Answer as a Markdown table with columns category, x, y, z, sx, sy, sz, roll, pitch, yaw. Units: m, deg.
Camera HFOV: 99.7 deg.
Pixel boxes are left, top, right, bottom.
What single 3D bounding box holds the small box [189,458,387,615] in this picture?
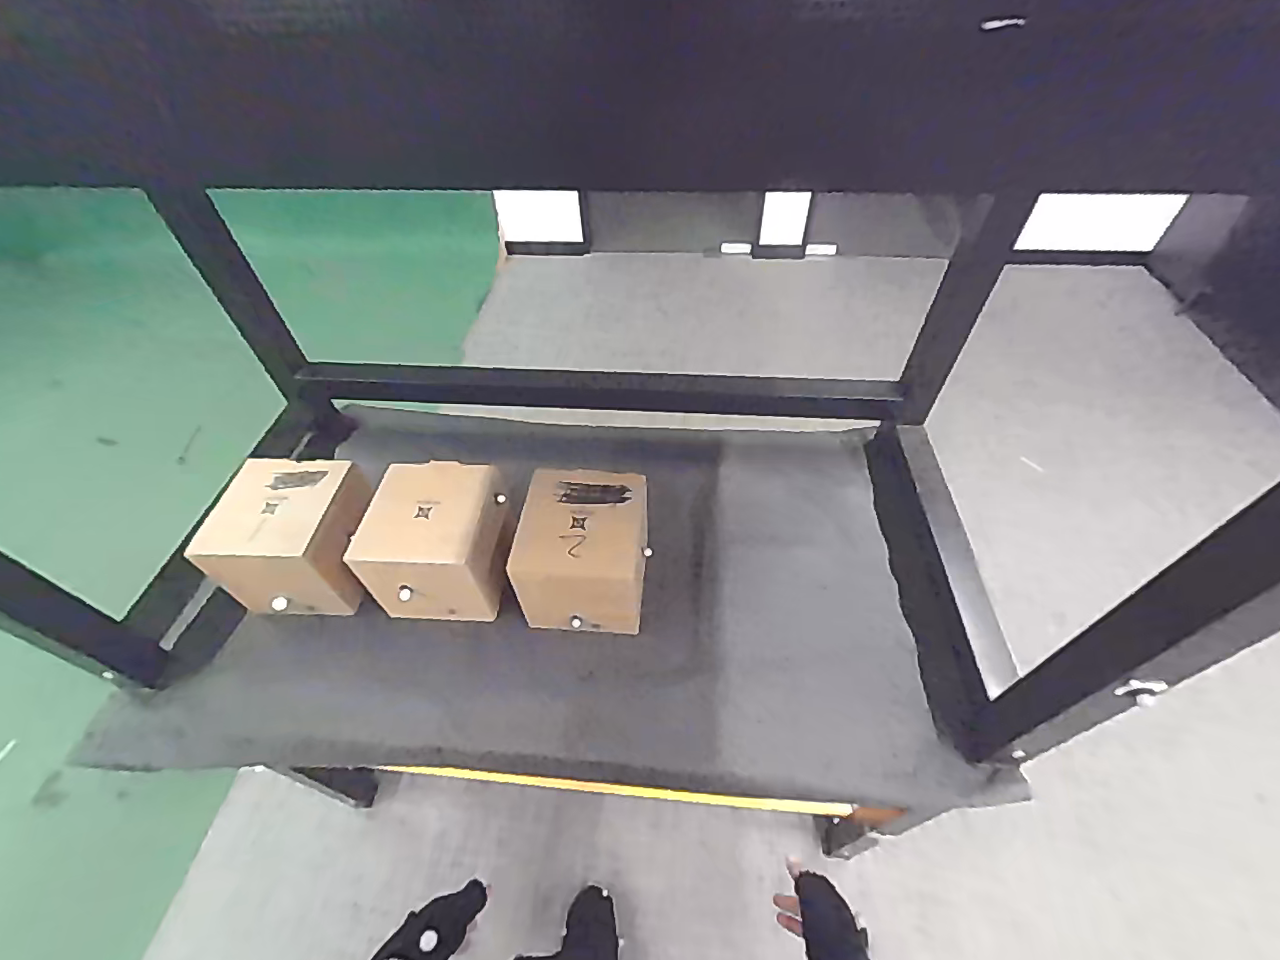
| category | x | y | z | sx | sy | sz | roll | pitch | yaw |
| --- | --- | --- | --- | --- | --- | --- | --- | --- | --- |
| small box | -0.516 | 0.086 | 0.830 | 0.168 | 0.176 | 0.179 | 1 | 49 | 3 |
